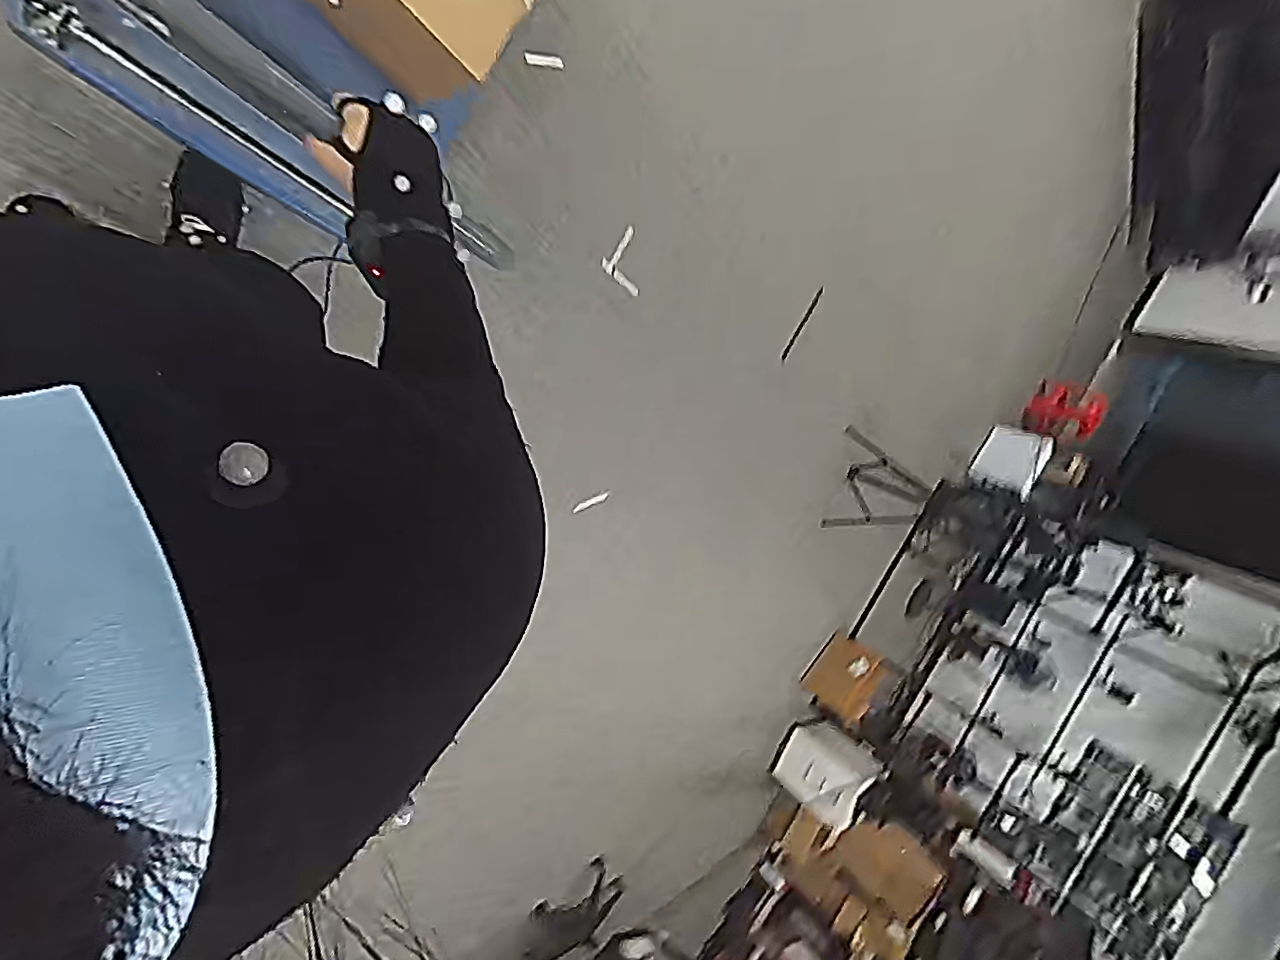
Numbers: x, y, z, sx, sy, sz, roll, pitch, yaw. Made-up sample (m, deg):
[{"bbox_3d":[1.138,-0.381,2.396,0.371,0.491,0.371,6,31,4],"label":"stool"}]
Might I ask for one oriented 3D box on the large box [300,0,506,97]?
[{"bbox_3d":[-0.427,-0.918,0.856,0.408,0.320,0.320,28,91,-45],"label":"large box"}]
